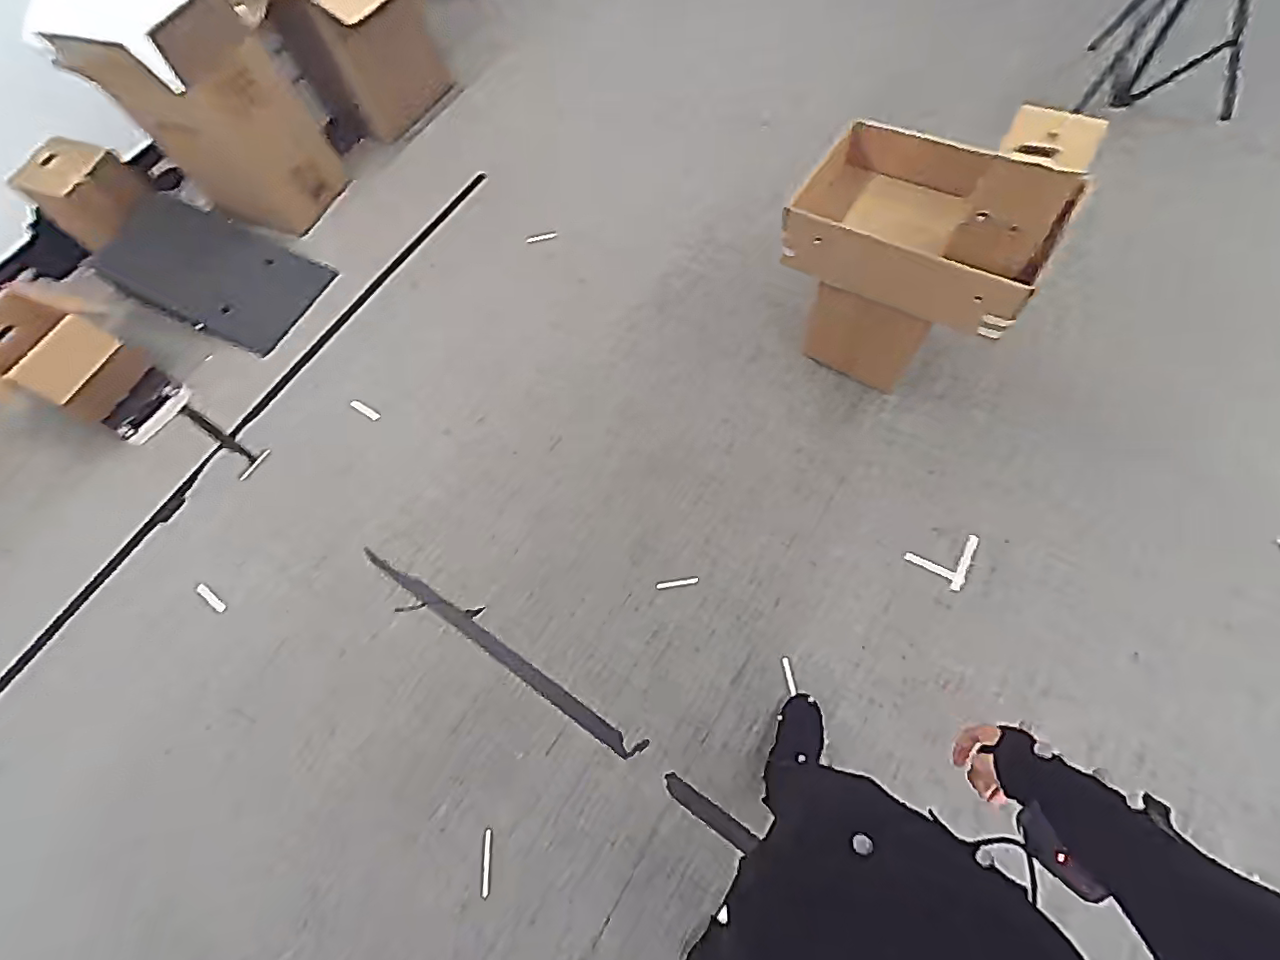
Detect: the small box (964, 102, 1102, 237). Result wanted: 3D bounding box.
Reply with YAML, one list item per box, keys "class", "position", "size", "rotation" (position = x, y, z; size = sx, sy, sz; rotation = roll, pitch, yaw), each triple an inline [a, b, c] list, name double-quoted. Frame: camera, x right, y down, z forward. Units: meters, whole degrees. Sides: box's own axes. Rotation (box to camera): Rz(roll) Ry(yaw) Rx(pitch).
- class: "small box"
  position: [0.831, -0.662, 1.163]
  size: [0.168, 0.176, 0.179]
  rotation: [27, 72, 18]
